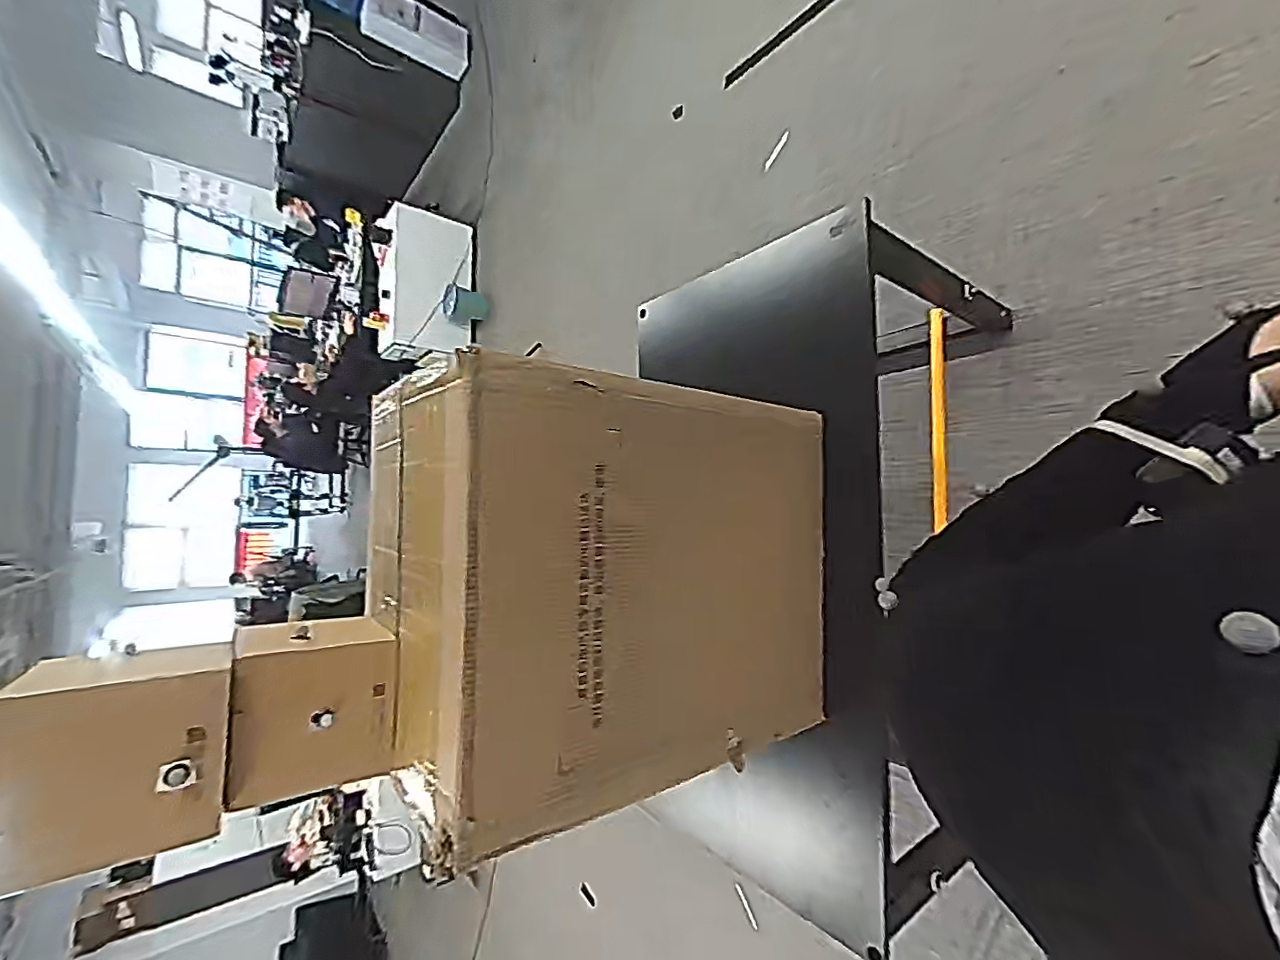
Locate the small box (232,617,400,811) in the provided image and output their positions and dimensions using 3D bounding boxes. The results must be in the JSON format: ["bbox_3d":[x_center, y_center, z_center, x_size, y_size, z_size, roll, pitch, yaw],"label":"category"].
[{"bbox_3d":[-0.414,0.275,0.688,0.179,0.176,0.168,-3,85,52],"label":"small box"}]

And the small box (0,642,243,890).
[{"bbox_3d":[-0.524,0.271,0.562,0.179,0.176,0.168,-8,82,52],"label":"small box"}]
